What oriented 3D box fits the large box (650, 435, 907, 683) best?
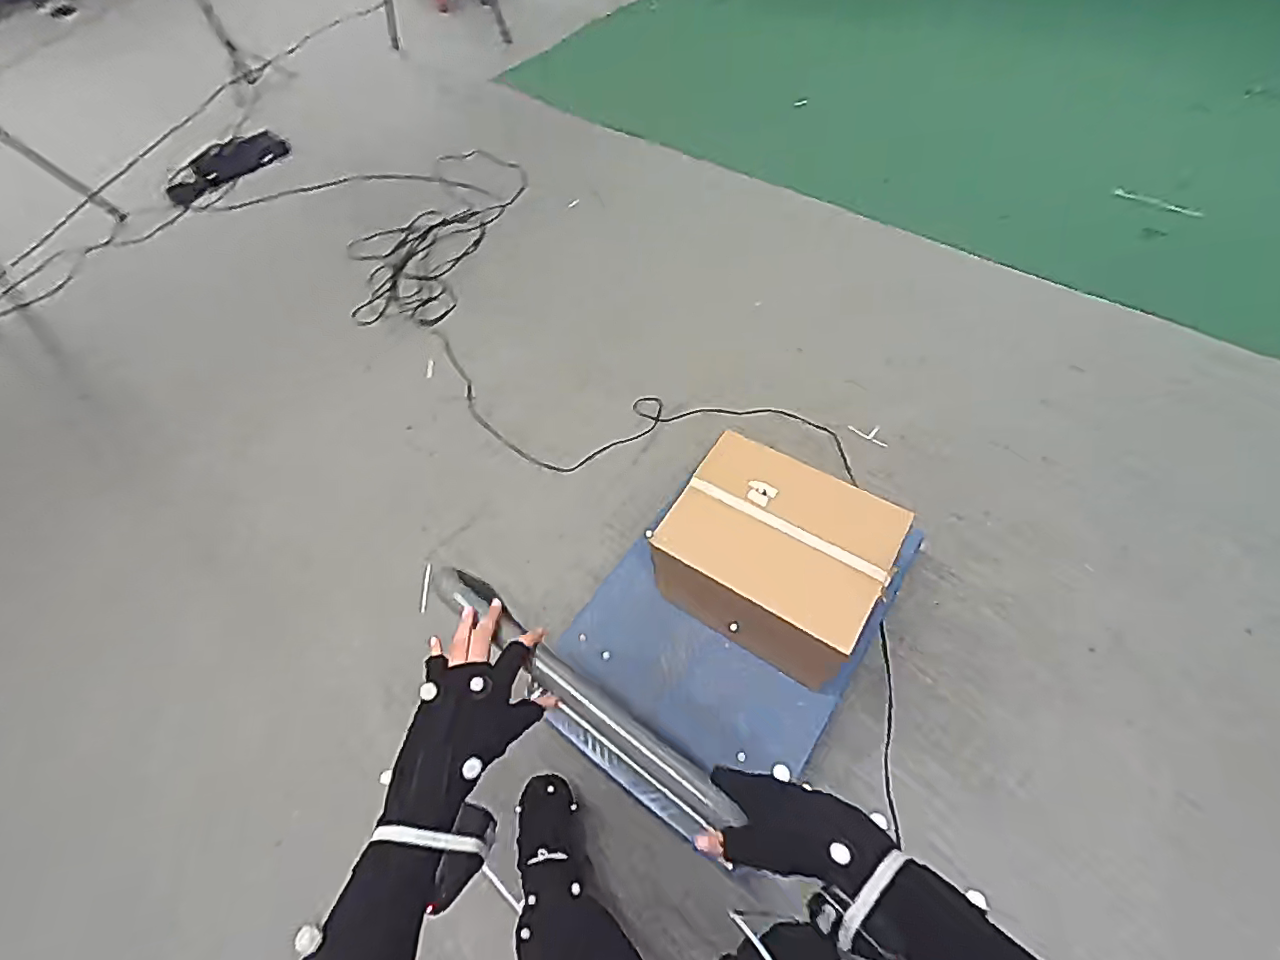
[{"bbox_3d":[0.281,0.172,1.162,0.408,0.320,0.320,27,64,22],"label":"large box"}]
